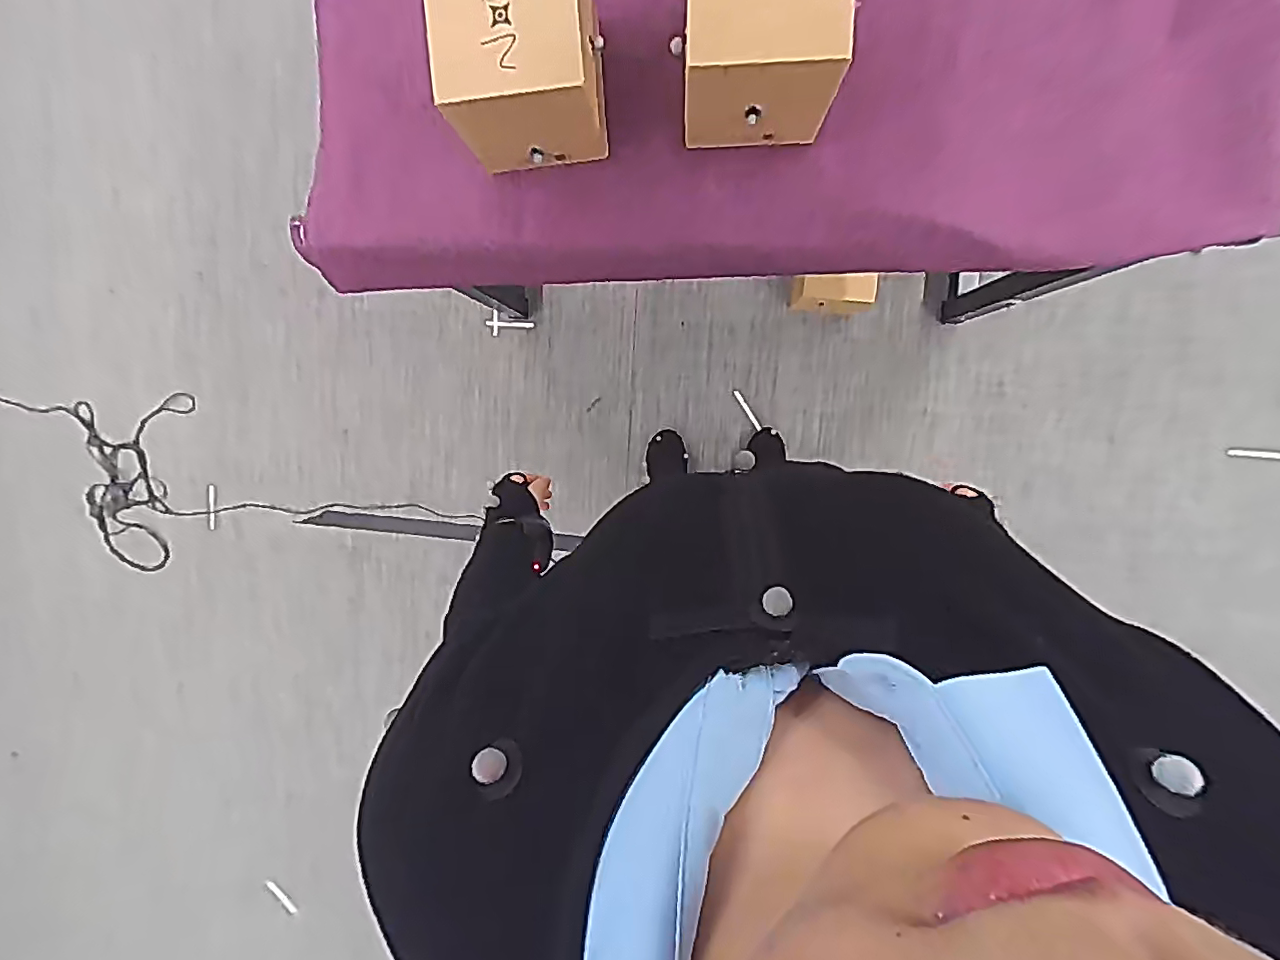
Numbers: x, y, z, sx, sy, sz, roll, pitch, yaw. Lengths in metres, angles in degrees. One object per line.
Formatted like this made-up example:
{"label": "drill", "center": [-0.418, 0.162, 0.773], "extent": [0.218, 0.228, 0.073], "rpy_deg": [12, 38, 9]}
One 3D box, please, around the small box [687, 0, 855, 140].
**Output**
{"label": "small box", "center": [0.139, -0.515, 0.614], "extent": [0.168, 0.176, 0.179], "rpy_deg": [1, 96, 4]}

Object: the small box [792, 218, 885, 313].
{"label": "small box", "center": [0.477, -0.516, 1.324], "extent": [0.168, 0.176, 0.179], "rpy_deg": [7, 97, 5]}
